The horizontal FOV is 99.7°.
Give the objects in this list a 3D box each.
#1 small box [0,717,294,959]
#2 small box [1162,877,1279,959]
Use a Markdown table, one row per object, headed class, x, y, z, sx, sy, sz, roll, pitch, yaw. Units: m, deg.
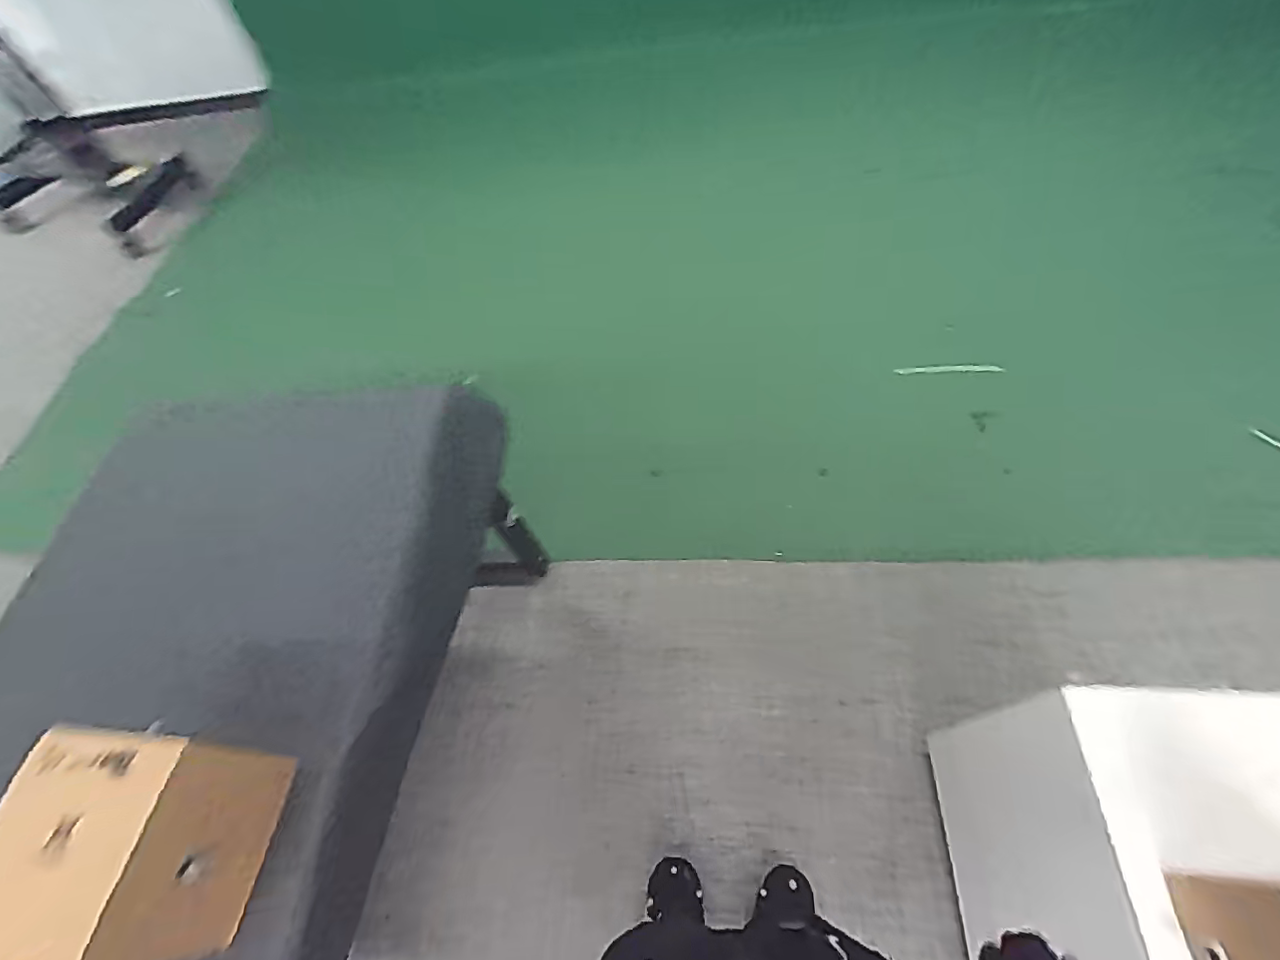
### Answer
| class | x | y | z | sx | sy | sz | roll | pitch | yaw |
| --- | --- | --- | --- | --- | --- | --- | --- | --- | --- |
| small box | -0.505 | 0.355 | 0.555 | 0.168 | 0.176 | 0.179 | 1 | 59 | 10 |
| small box | 0.641 | 0.460 | 0.476 | 0.179 | 0.176 | 0.168 | -3 | 58 | 8 |
